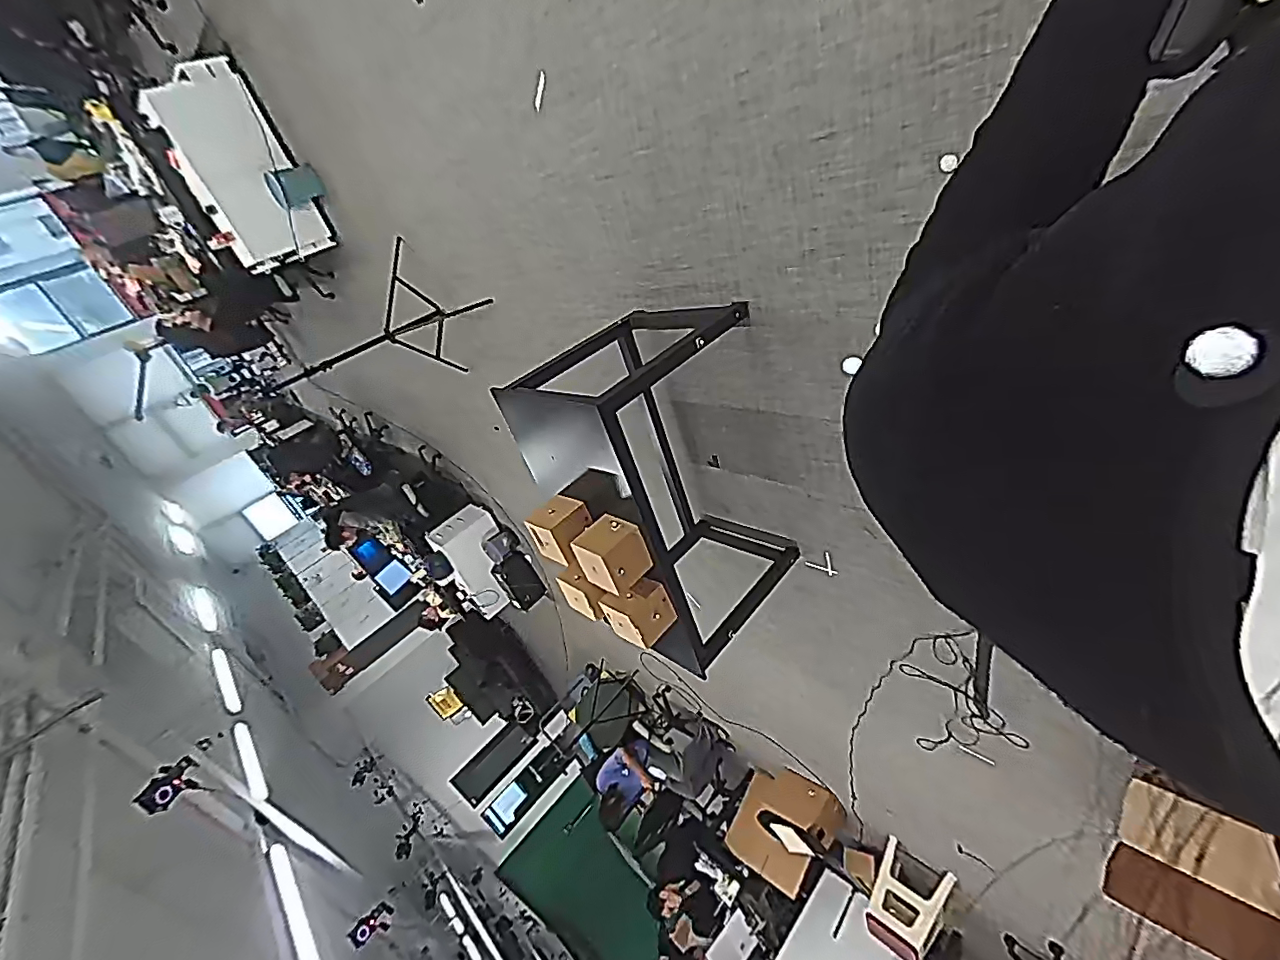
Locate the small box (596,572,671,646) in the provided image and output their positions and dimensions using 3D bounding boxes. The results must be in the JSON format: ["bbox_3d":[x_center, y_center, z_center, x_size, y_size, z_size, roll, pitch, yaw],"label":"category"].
[{"bbox_3d":[-0.014,0.438,1.885,0.179,0.176,0.168,9,131,49],"label":"small box"}]

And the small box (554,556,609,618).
[{"bbox_3d":[-0.194,0.393,2.082,0.179,0.176,0.168,17,137,44],"label":"small box"}]

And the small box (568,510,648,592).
[{"bbox_3d":[-0.097,0.228,1.762,0.168,0.176,0.179,14,134,46],"label":"small box"}]
